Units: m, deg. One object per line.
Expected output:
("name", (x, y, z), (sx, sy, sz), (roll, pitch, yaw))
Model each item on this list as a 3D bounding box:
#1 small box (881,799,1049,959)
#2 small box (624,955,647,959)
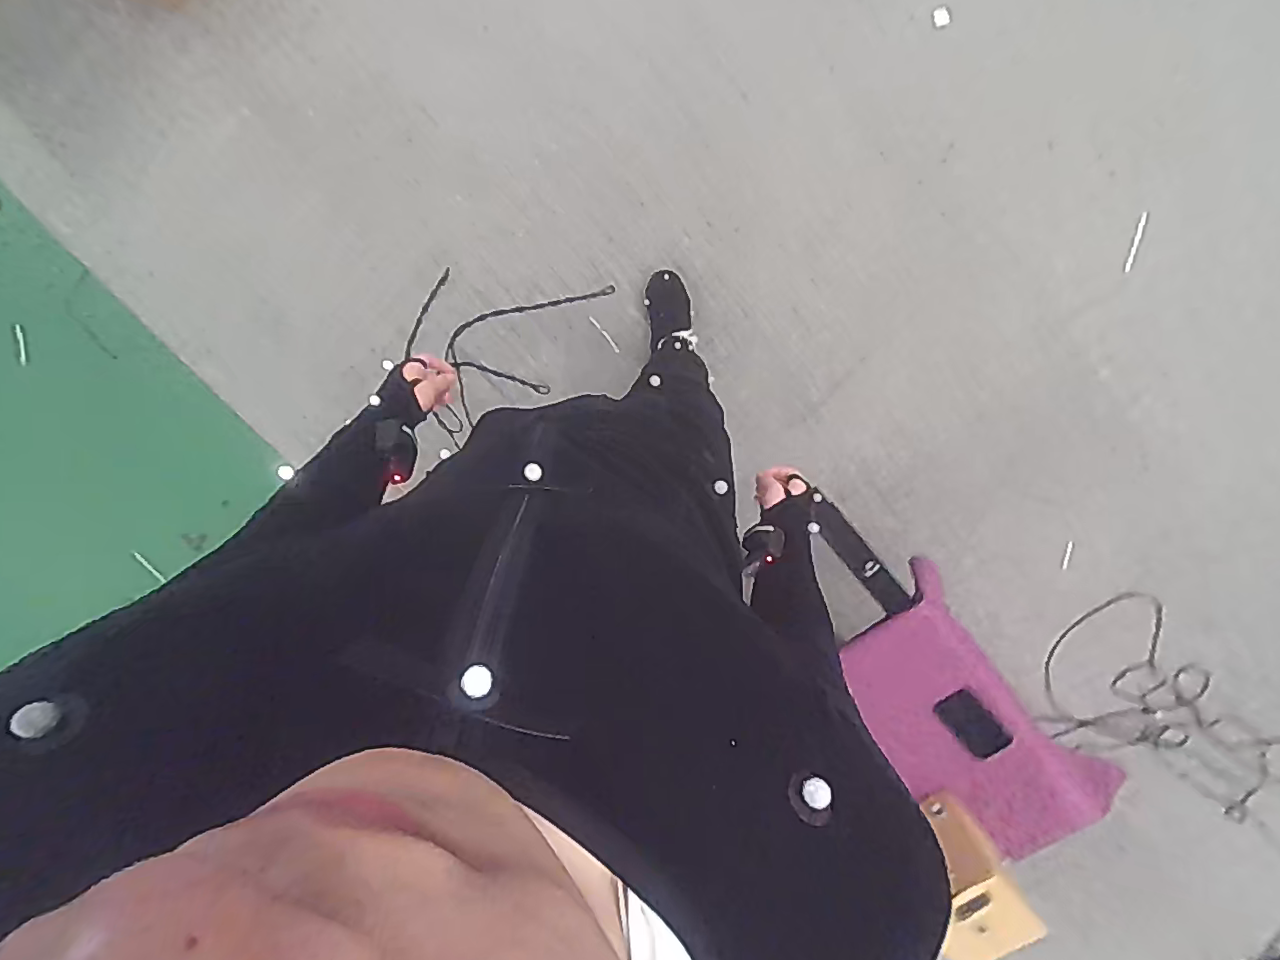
("small box", (0.577, 0.725, 0.987), (0.168, 0.176, 0.179), (-39, 102, 14))
("small box", (-0.015, 1.190, 1.168), (0.168, 0.176, 0.179), (-37, 103, 12))
